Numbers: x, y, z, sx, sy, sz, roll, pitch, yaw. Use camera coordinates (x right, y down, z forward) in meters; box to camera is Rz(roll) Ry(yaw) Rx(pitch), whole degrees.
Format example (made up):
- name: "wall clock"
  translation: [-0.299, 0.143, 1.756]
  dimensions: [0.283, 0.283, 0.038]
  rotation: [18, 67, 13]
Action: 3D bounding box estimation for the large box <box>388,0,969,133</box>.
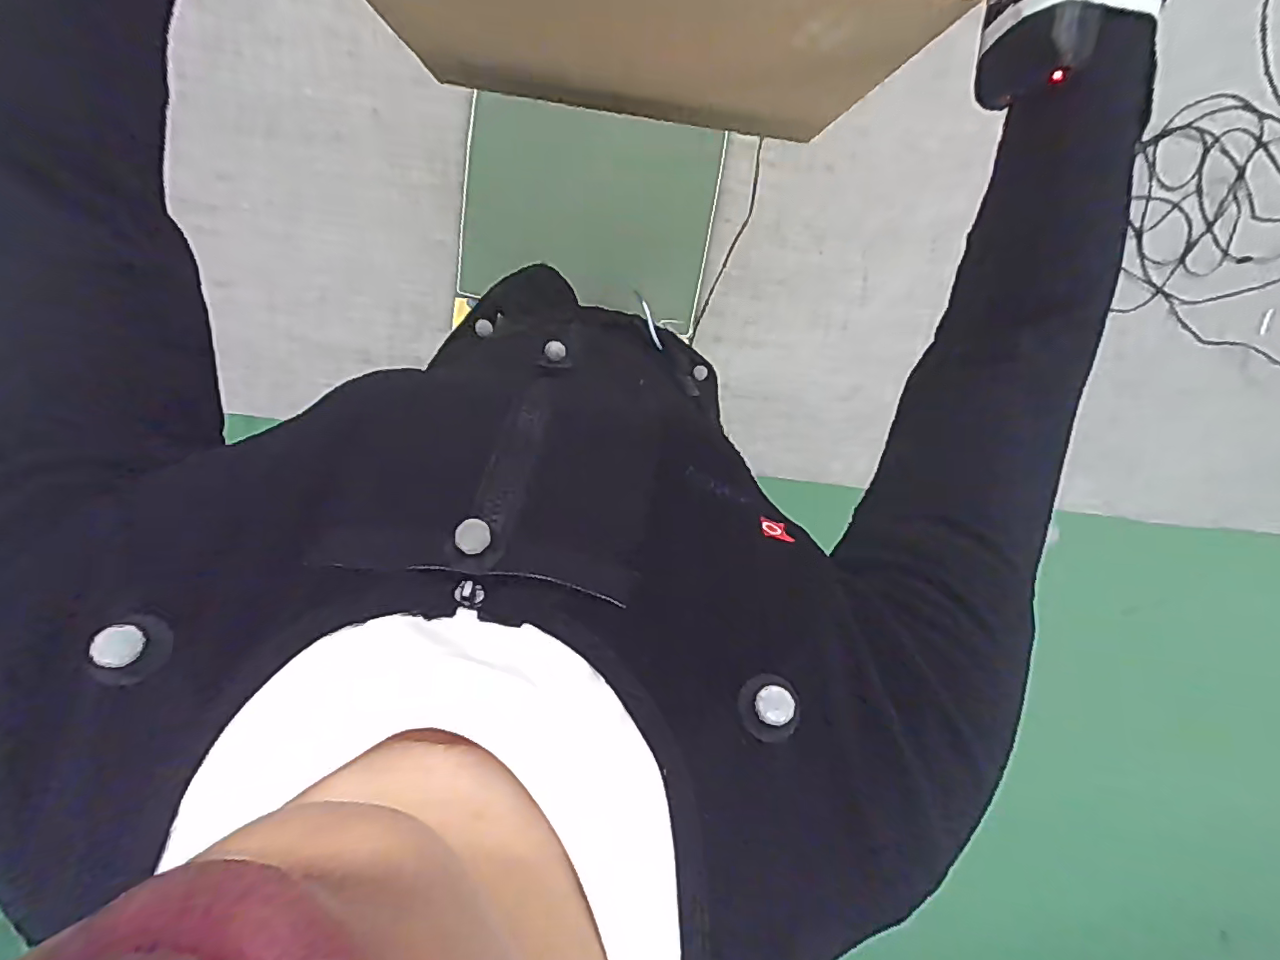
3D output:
- name: "large box"
  translation: [0.017, -0.493, 0.396]
  dimensions: [0.408, 0.320, 0.320]
  rotation: [6, 109, -5]
